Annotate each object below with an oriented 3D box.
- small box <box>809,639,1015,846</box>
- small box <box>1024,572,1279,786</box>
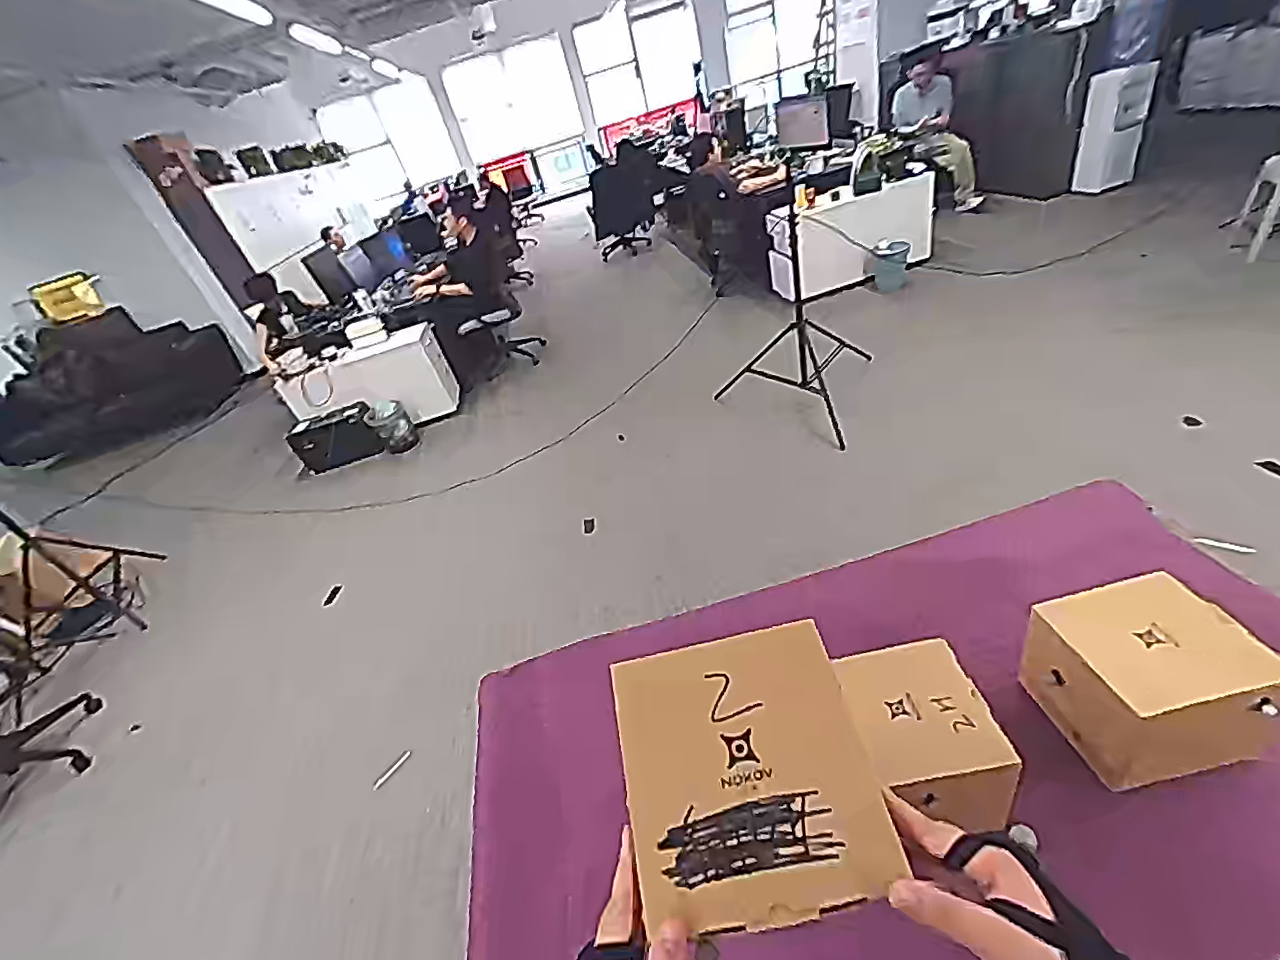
[{"bbox_3d":[0.331,0.334,0.685,0.179,0.176,0.168,-13,35,6],"label":"small box"},{"bbox_3d":[0.618,0.250,0.677,0.179,0.176,0.168,-16,33,2],"label":"small box"}]
